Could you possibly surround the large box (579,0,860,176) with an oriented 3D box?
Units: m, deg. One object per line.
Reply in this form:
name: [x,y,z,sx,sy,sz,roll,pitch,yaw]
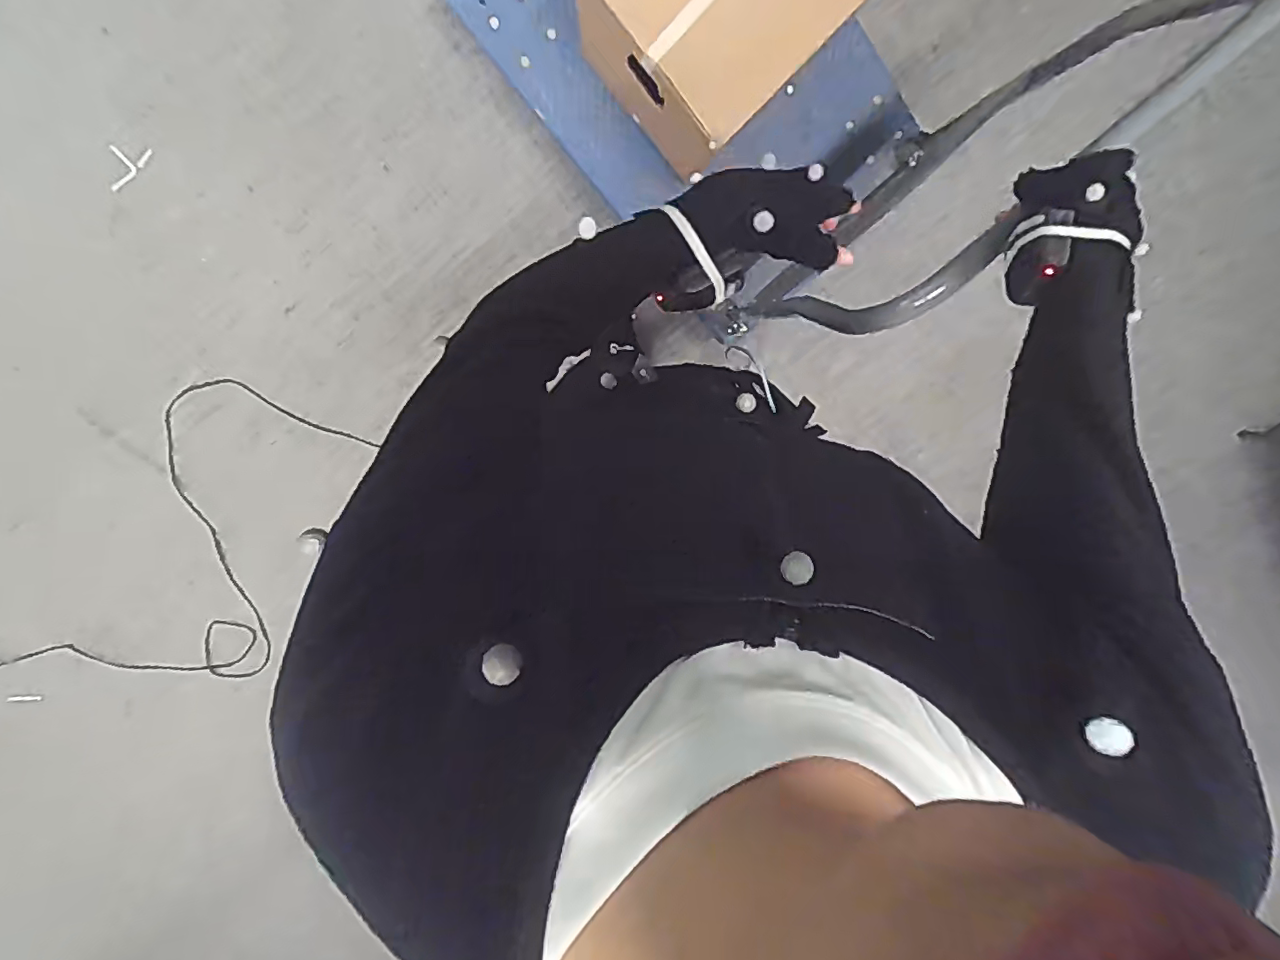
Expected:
large box: [0.144,-0.805,0.901,0.408,0.320,0.320,-42,107,11]
